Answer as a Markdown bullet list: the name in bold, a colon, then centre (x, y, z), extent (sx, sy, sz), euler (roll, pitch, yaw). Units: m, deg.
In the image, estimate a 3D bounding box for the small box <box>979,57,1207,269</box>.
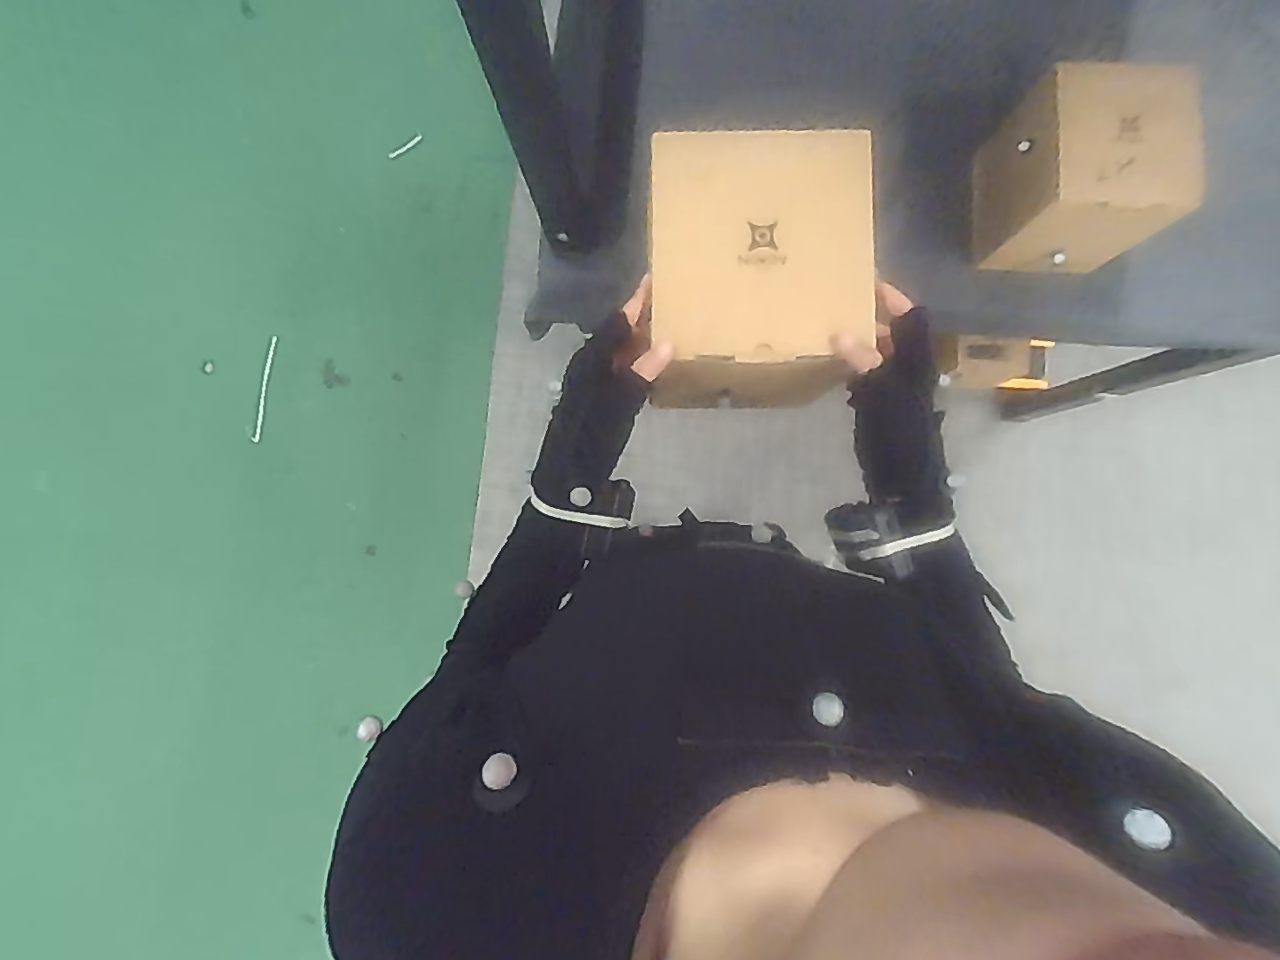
- **small box**: centre (0.573, -0.403, 0.709), extent (0.168, 0.176, 0.179), euler (2, 84, 3)
